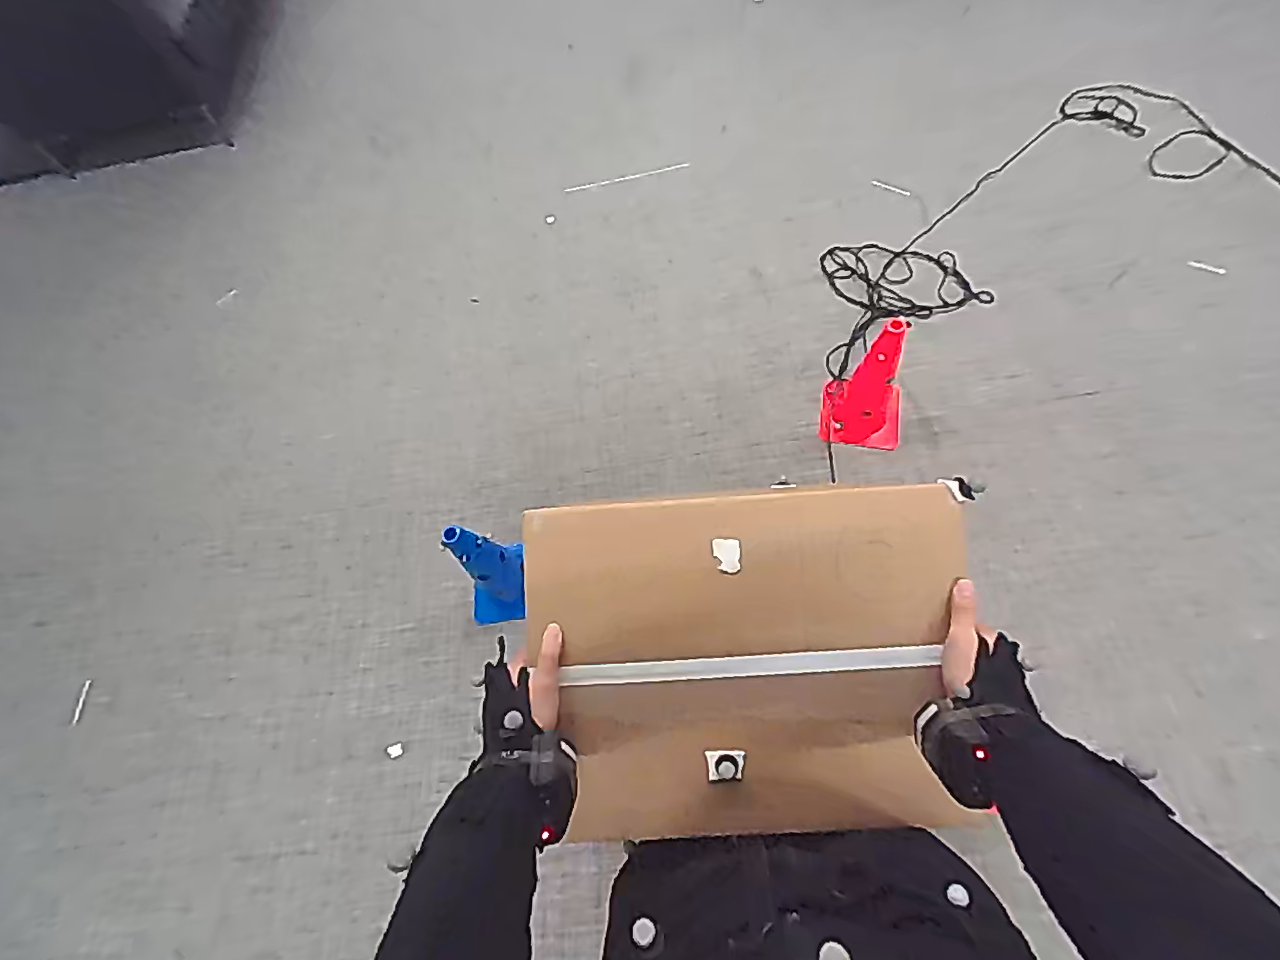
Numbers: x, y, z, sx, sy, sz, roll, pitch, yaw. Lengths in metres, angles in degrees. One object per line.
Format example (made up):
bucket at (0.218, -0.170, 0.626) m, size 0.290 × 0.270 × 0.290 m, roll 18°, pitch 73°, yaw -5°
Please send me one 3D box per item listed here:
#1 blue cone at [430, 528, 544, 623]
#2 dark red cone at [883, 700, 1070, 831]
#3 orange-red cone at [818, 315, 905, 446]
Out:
blue cone at (-0.363, 0.191, 1.240) m, size 0.192 × 0.380 × 0.193 m, roll -8°, pitch 63°, yaw 6°
dark red cone at (0.572, 0.481, 0.892) m, size 0.202 × 0.394 × 0.201 m, roll -15°, pitch 65°, yaw 2°
orange-red cone at (0.561, -0.258, 1.282) m, size 0.199 × 0.360 × 0.198 m, roll 10°, pitch 67°, yaw 13°
